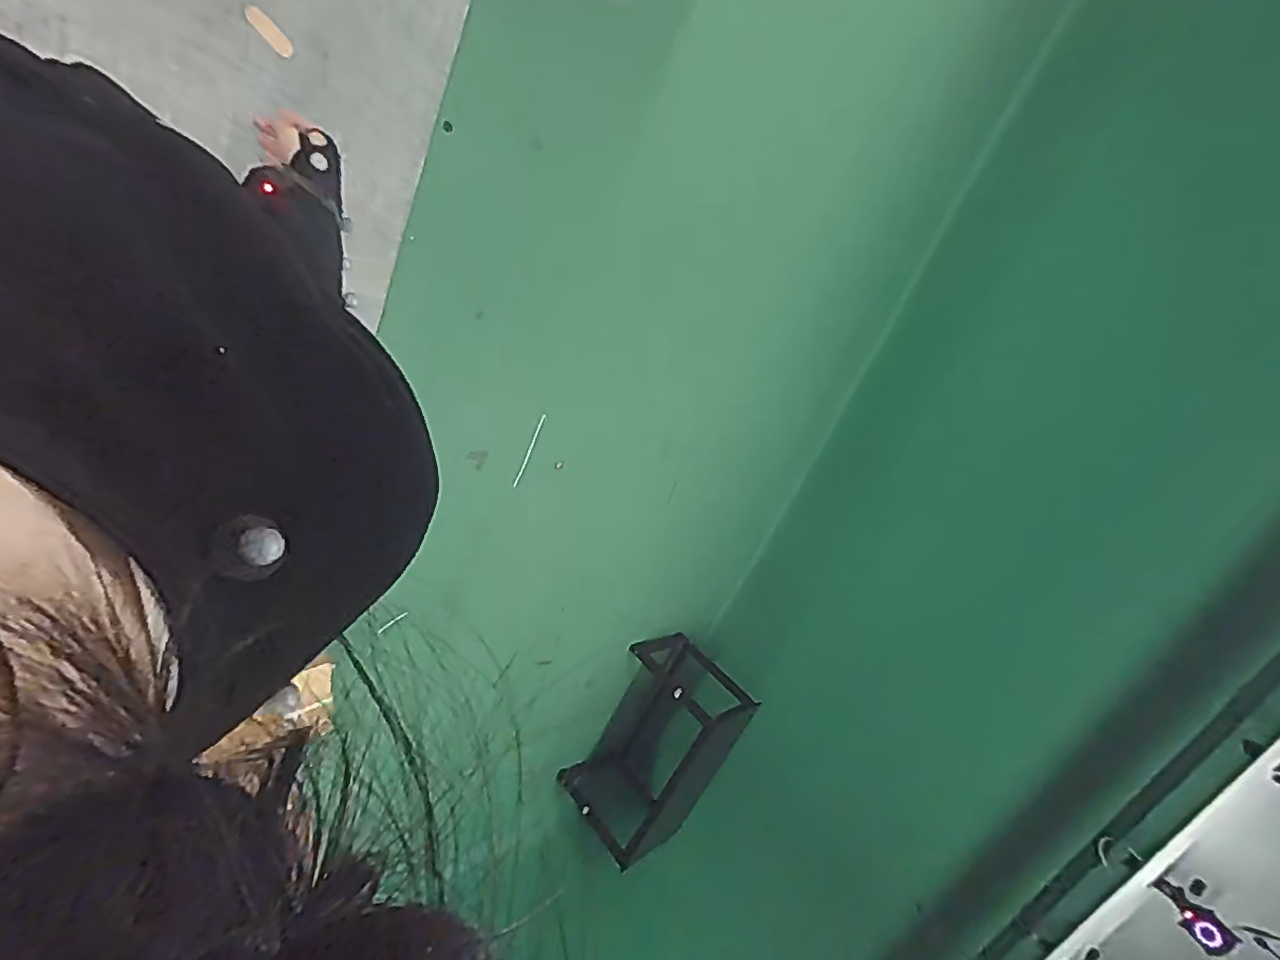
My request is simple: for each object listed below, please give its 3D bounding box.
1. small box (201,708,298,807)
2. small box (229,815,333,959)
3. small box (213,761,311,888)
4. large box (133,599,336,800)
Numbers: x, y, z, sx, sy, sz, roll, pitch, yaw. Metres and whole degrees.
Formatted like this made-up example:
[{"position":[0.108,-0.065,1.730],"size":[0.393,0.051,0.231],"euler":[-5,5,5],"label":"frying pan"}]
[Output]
[{"position":[-1.022,0.738,1.417],"size":[0.179,0.176,0.168],"euler":[-9,125,-44],"label":"small box"},{"position":[-0.815,0.906,1.226],"size":[0.168,0.176,0.179],"euler":[-8,124,-44],"label":"small box"},{"position":[-0.924,0.823,1.317],"size":[0.168,0.176,0.179],"euler":[-7,124,-45],"label":"small box"},{"position":[-1.161,0.611,1.576],"size":[0.408,0.320,0.320],"euler":[-14,131,-43],"label":"large box"}]
